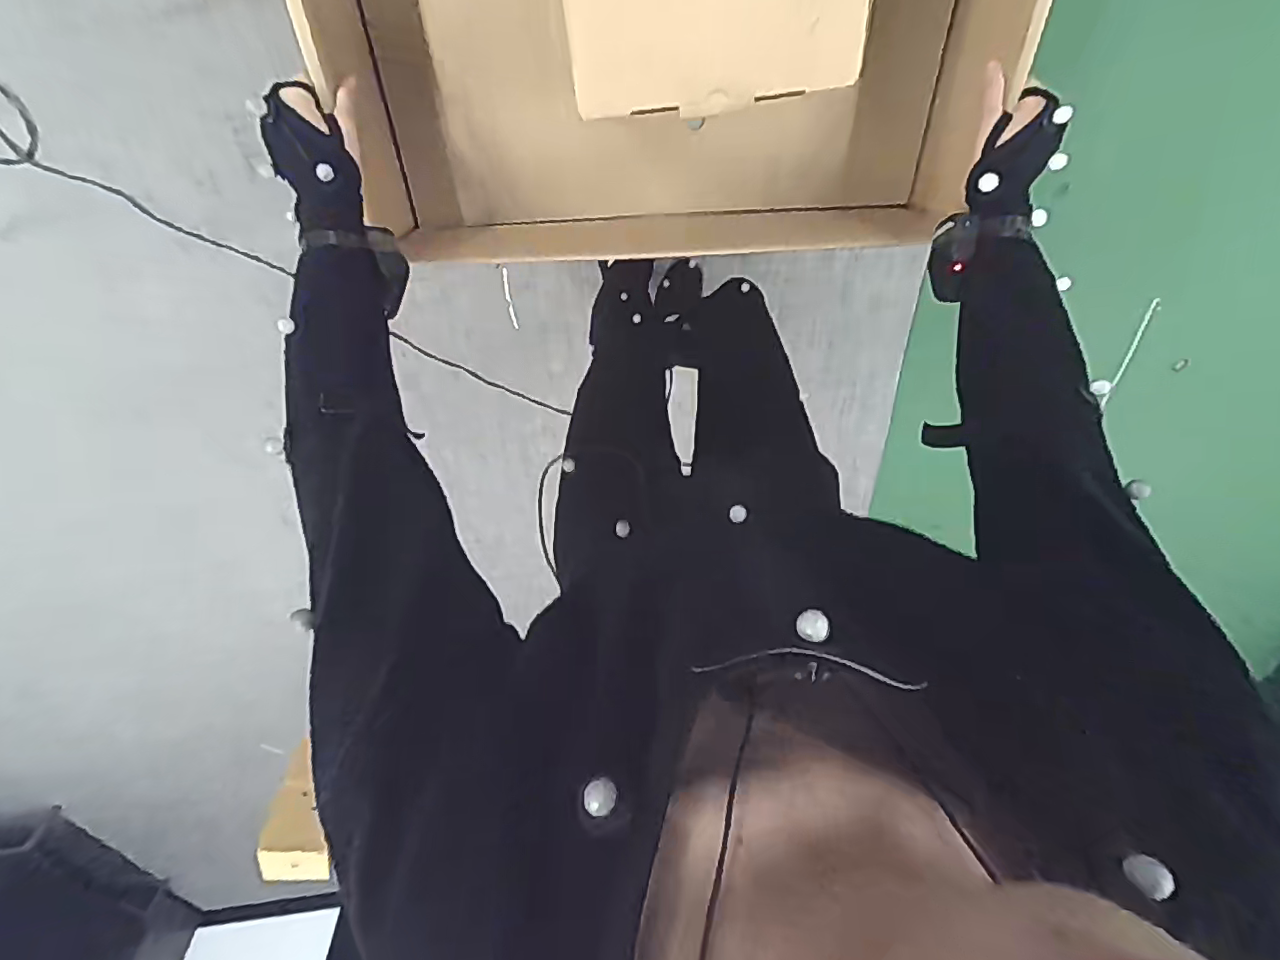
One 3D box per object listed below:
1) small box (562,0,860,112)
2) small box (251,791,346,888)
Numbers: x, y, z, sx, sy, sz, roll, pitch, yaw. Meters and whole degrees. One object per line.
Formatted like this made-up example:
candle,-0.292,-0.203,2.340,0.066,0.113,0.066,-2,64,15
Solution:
small box,0.033,-0.344,0.330,0.168,0.176,0.179,-6,127,1
small box,-0.911,0.971,1.460,0.168,0.176,0.179,10,123,-13
